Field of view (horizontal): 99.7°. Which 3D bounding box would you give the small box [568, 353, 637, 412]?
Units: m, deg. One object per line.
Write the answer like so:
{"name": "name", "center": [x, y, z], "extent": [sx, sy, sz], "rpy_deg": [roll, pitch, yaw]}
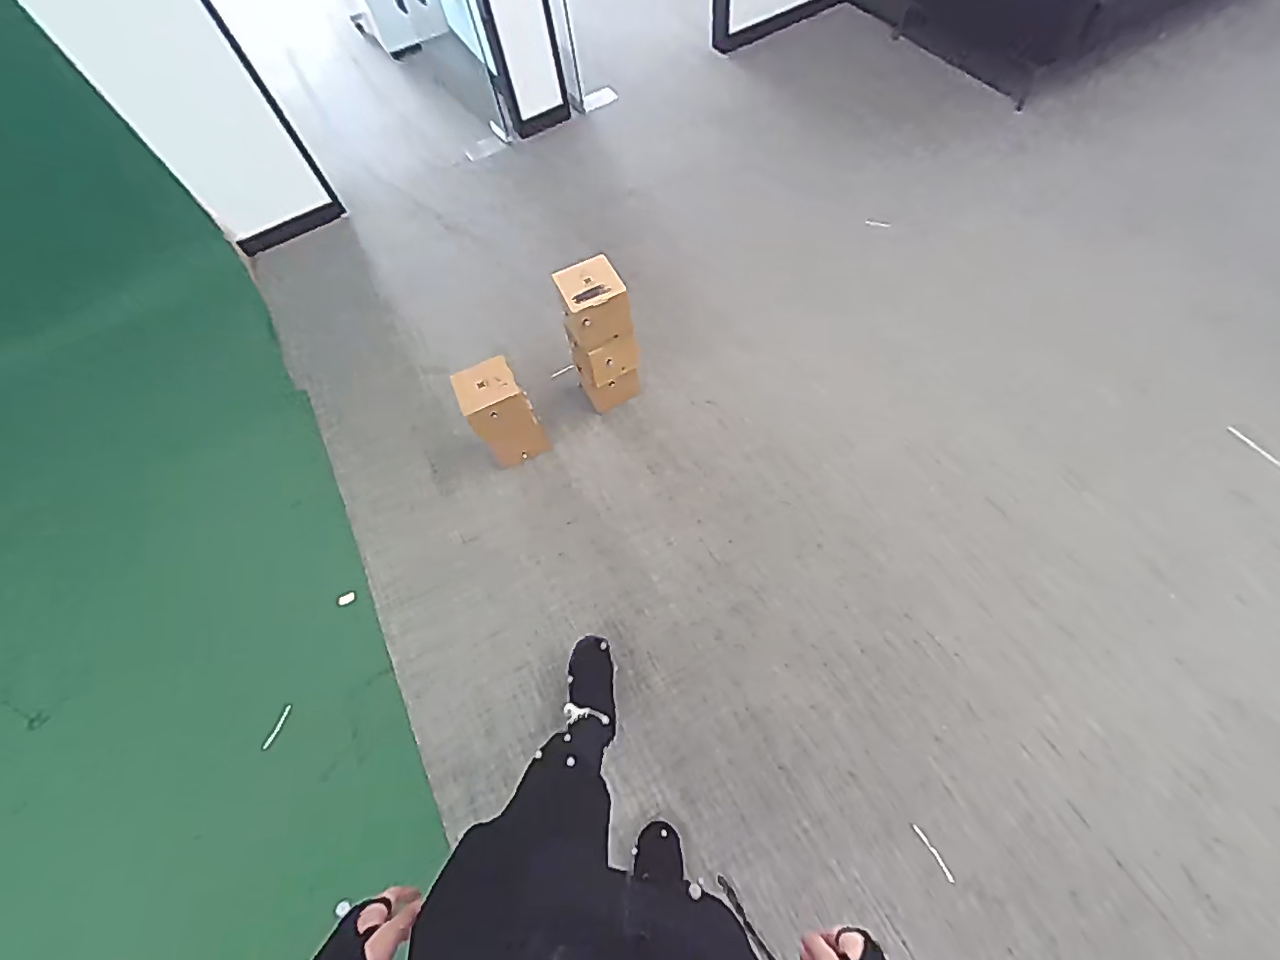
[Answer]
{"name": "small box", "center": [-0.123, -0.364, 1.863], "extent": [0.179, 0.176, 0.168], "rpy_deg": [-27, 63, -9]}

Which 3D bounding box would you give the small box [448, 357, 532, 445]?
{"name": "small box", "center": [-0.452, -0.234, 1.648], "extent": [0.179, 0.176, 0.168], "rpy_deg": [-25, 63, -7]}

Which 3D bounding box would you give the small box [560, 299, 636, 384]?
{"name": "small box", "center": [-0.126, -0.429, 1.714], "extent": [0.168, 0.176, 0.179], "rpy_deg": [-31, 63, -10]}

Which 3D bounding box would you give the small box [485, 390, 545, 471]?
{"name": "small box", "center": [-0.429, -0.161, 1.794], "extent": [0.179, 0.176, 0.168], "rpy_deg": [-26, 63, -8]}
